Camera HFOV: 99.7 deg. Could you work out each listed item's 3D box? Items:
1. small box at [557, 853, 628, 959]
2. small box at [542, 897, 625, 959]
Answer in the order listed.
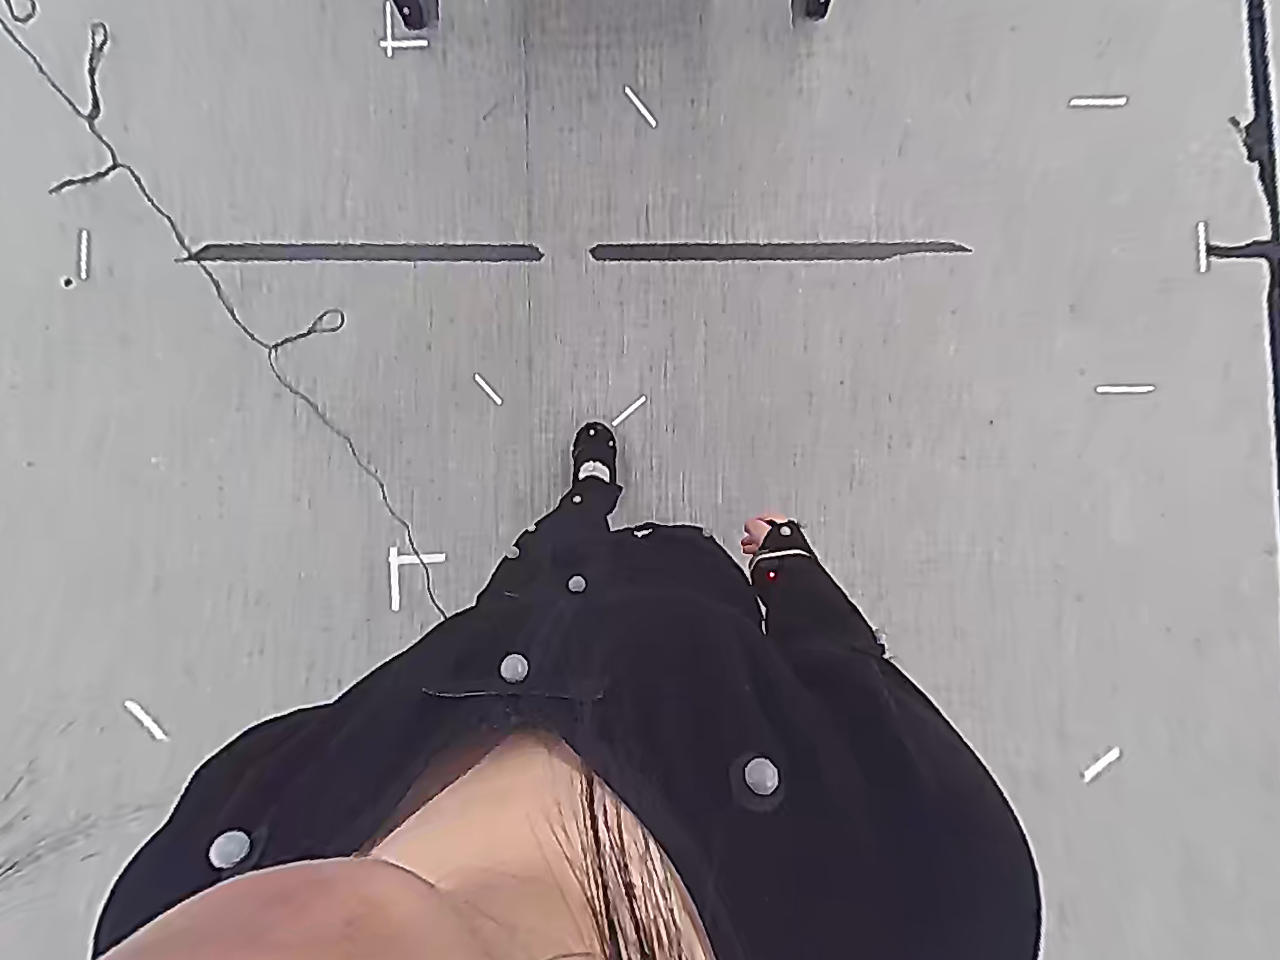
[{"bbox_3d":[-0.118,1.089,1.384,0.168,0.176,0.179,-3,88,1],"label":"small box"},{"bbox_3d":[-0.123,1.084,1.222,0.168,0.176,0.179,-3,89,2],"label":"small box"}]
